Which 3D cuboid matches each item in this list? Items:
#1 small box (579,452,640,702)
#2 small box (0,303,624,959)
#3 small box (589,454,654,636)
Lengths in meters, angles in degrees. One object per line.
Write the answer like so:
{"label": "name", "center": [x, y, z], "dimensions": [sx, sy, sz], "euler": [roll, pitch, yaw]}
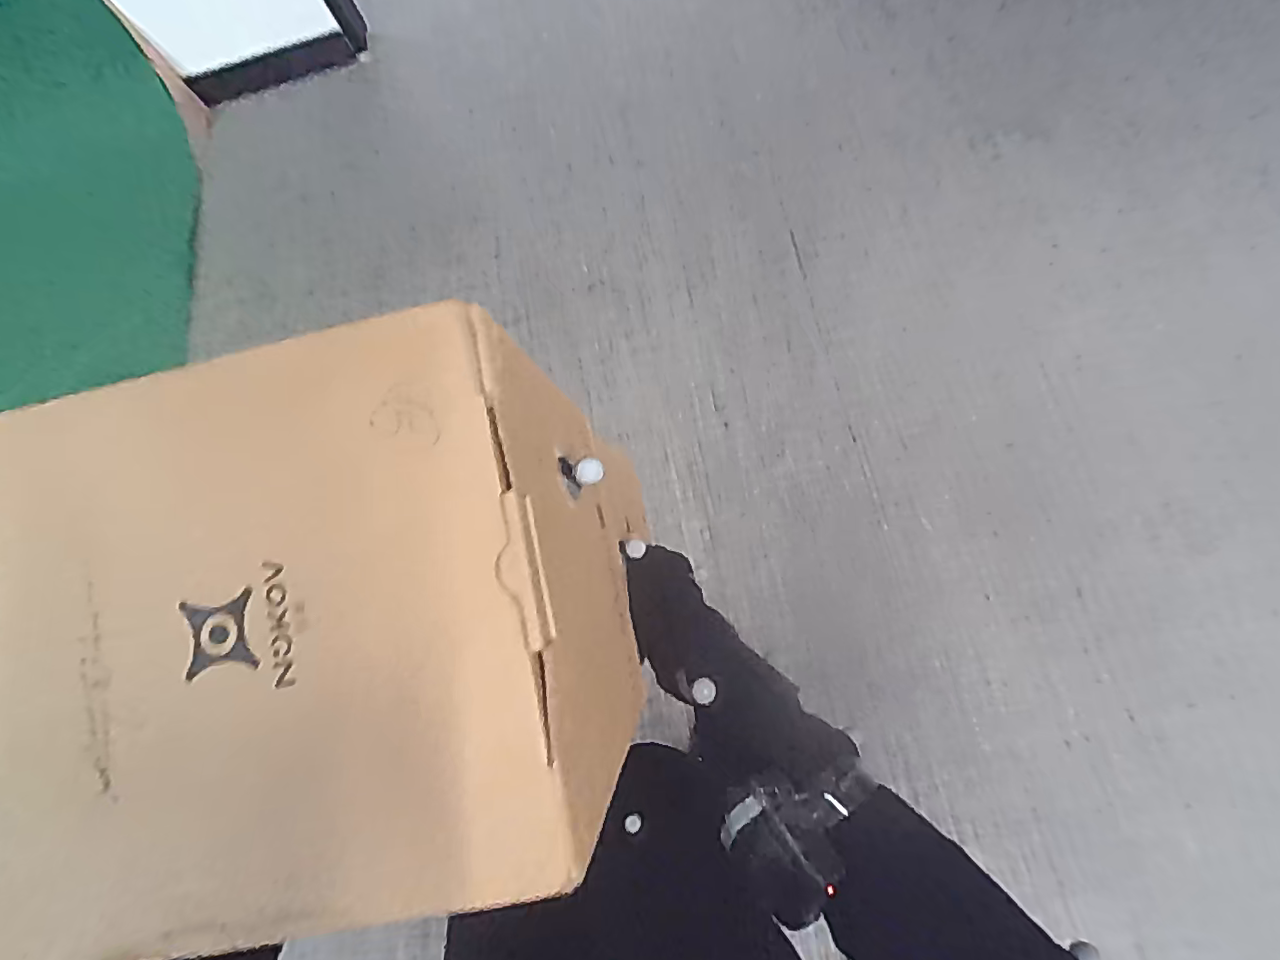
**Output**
{"label": "small box", "center": [-0.102, 0.073, 0.392], "dimensions": [0.179, 0.176, 0.168], "euler": [-15, 84, 6]}
{"label": "small box", "center": [-0.110, 0.057, 0.227], "dimensions": [0.179, 0.176, 0.168], "euler": [-15, 81, 6]}
{"label": "small box", "center": [-0.086, 0.080, 0.552], "dimensions": [0.179, 0.176, 0.168], "euler": [-13, 82, 6]}
